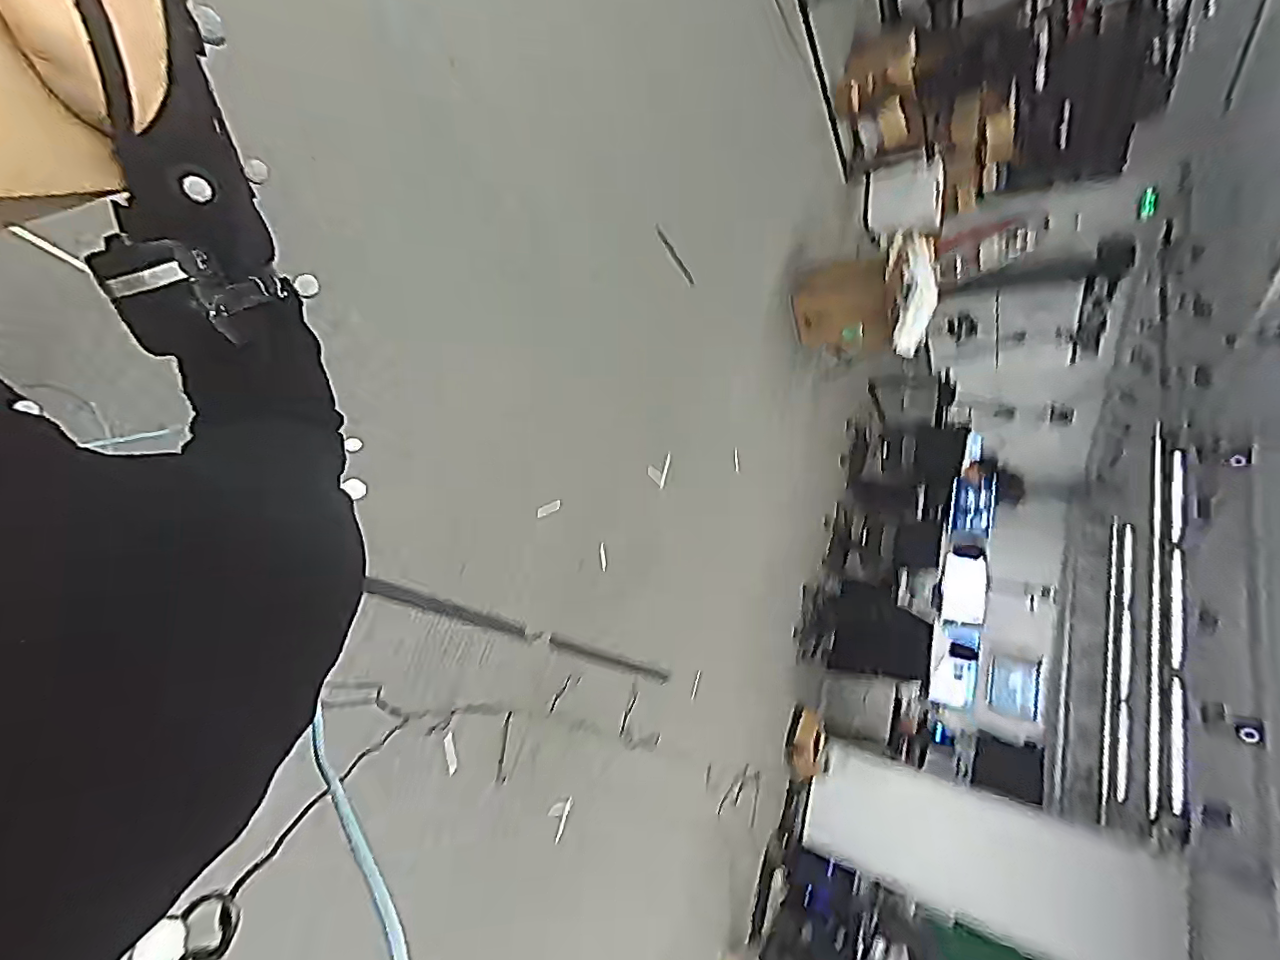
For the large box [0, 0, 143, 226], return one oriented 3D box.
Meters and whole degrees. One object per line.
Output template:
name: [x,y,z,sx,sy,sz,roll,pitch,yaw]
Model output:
large box: [-0.506,-0.219,0.144,0.408,0.320,0.320,-43,135,-49]
